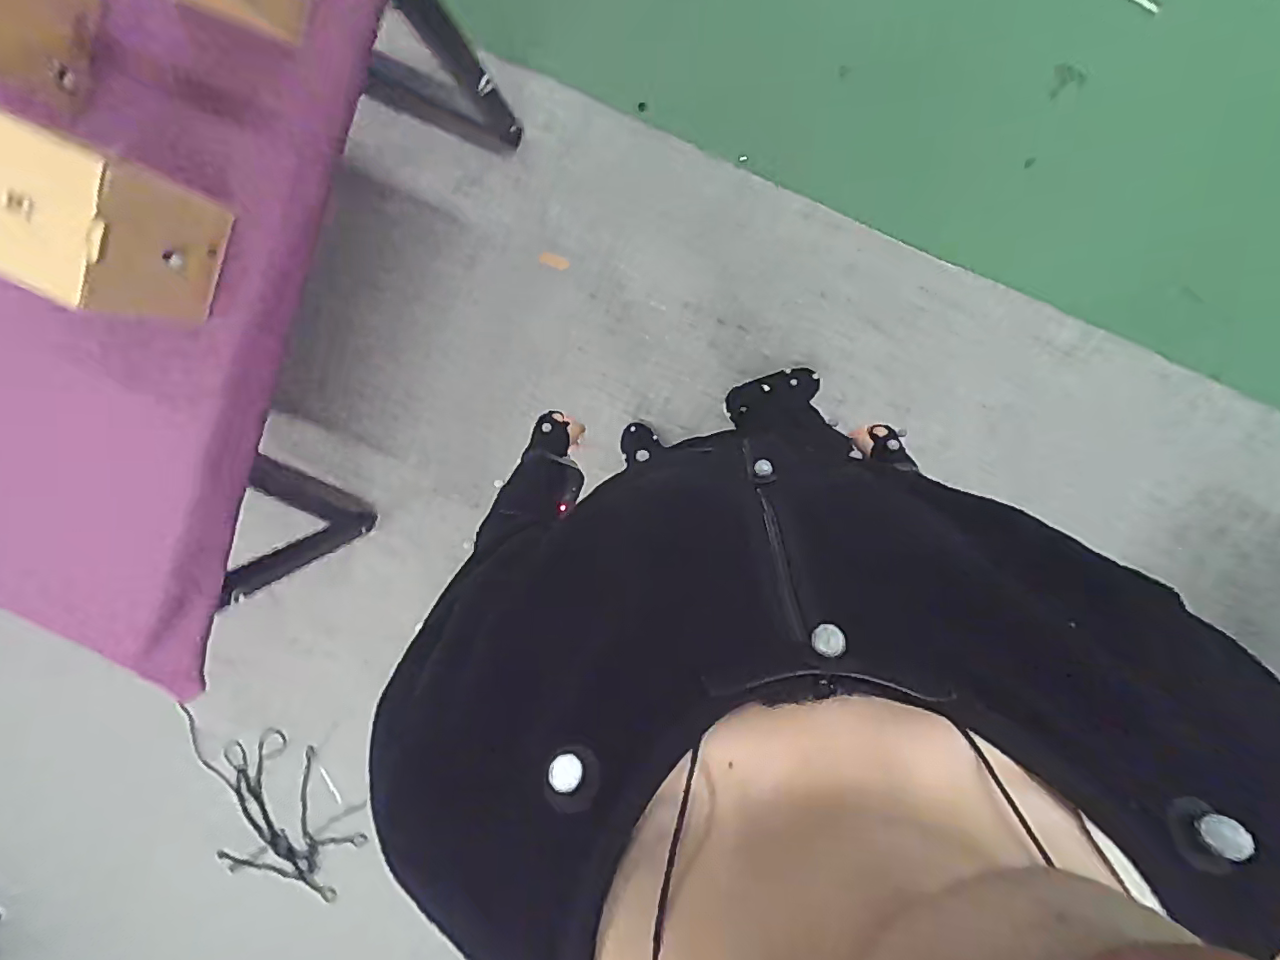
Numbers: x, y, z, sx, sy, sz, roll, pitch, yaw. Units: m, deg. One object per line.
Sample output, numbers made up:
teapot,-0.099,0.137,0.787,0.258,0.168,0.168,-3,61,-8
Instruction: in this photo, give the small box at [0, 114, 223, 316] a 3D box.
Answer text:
small box,-0.671,-0.314,0.665,0.179,0.176,0.168,25,102,-1
